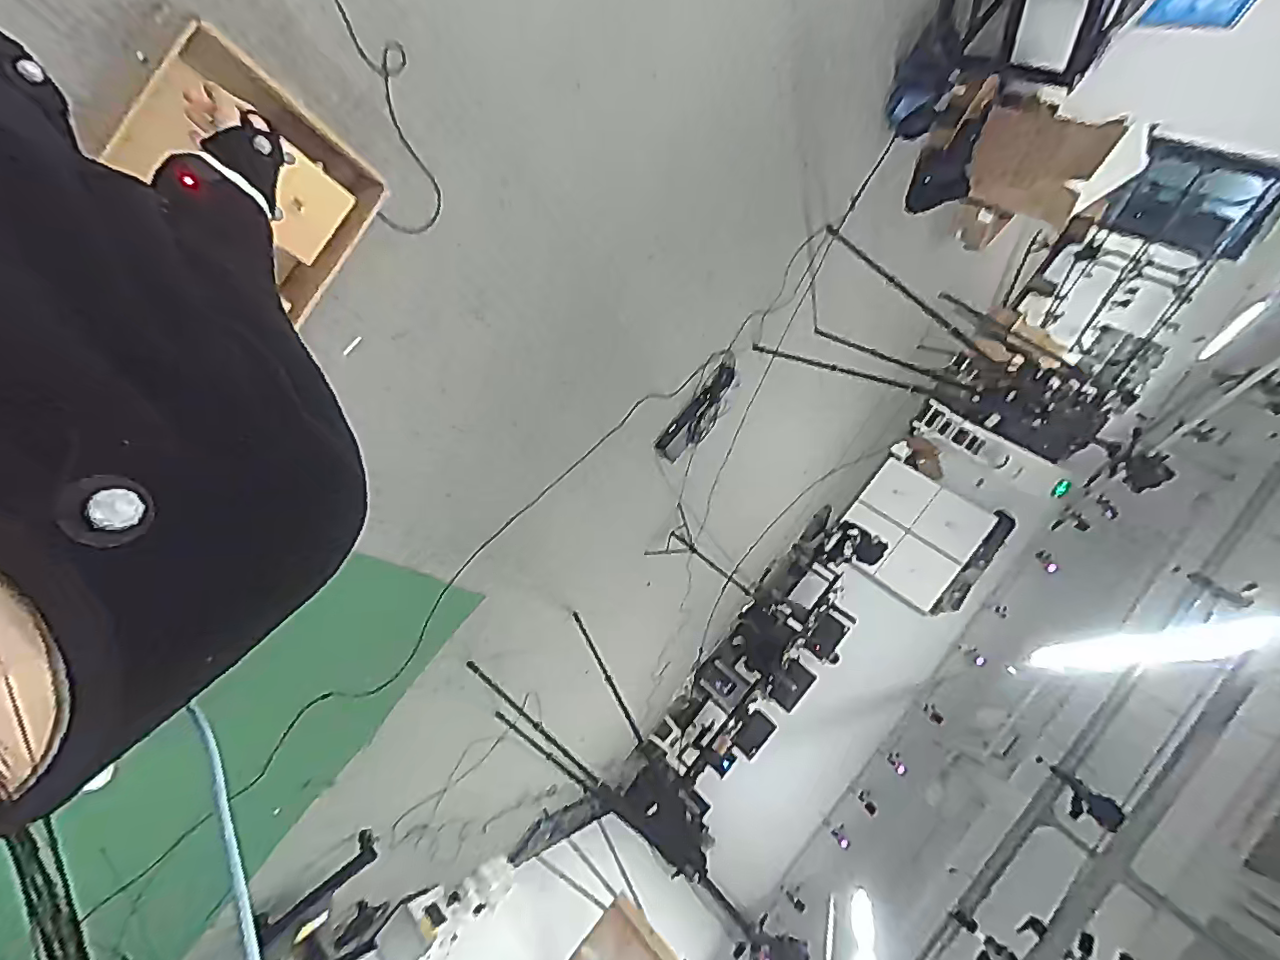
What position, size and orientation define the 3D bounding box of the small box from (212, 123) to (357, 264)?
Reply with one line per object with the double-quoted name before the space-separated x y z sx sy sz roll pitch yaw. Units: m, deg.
"small box" -0.741 -0.597 1.124 0.179 0.176 0.168 -53 151 3
